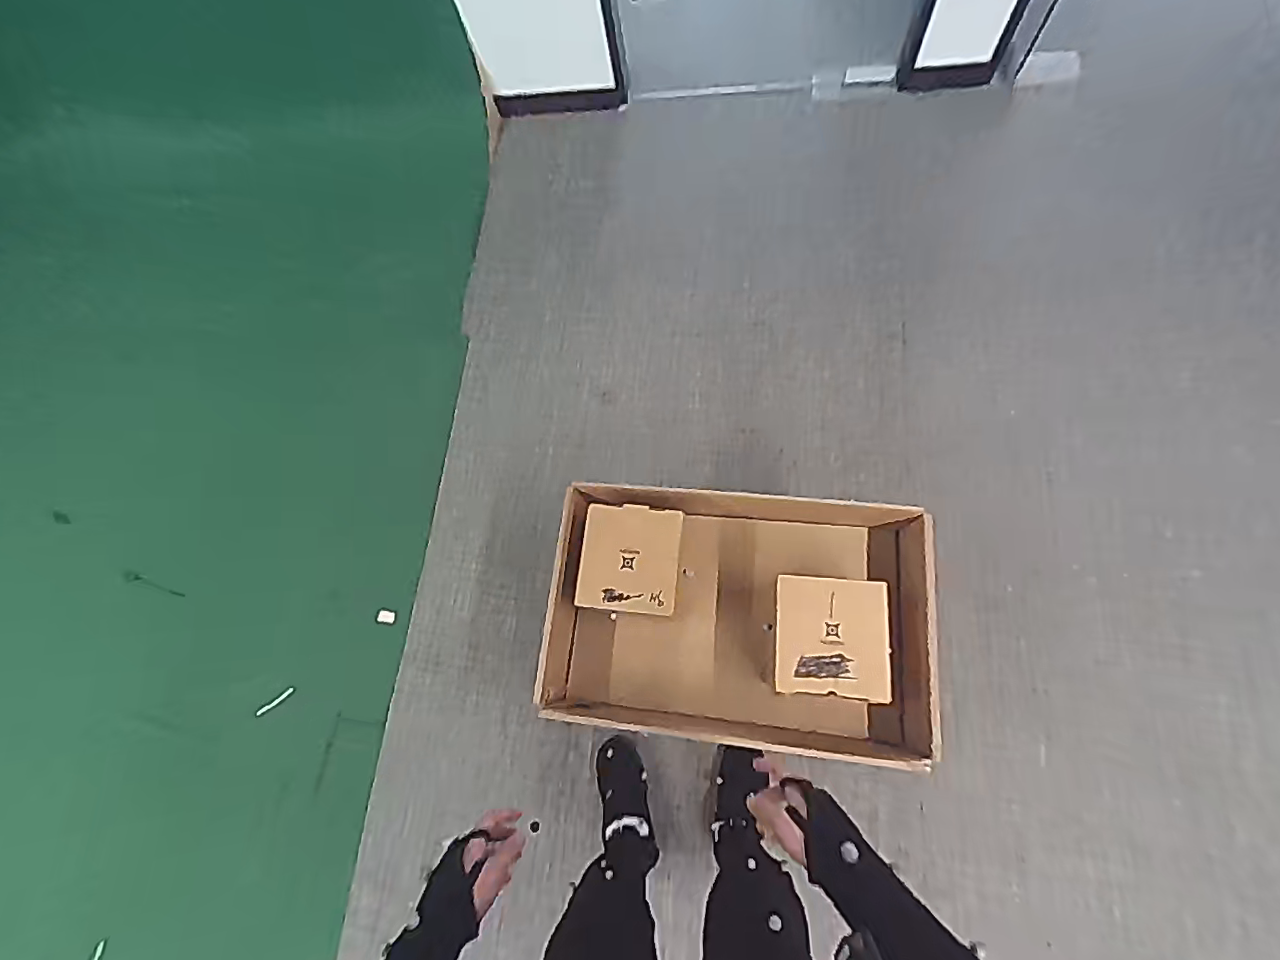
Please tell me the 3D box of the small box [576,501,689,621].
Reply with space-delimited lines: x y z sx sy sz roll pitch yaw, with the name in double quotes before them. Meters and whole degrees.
"small box" -0.003 0.149 0.966 0.168 0.176 0.179 6 74 10
